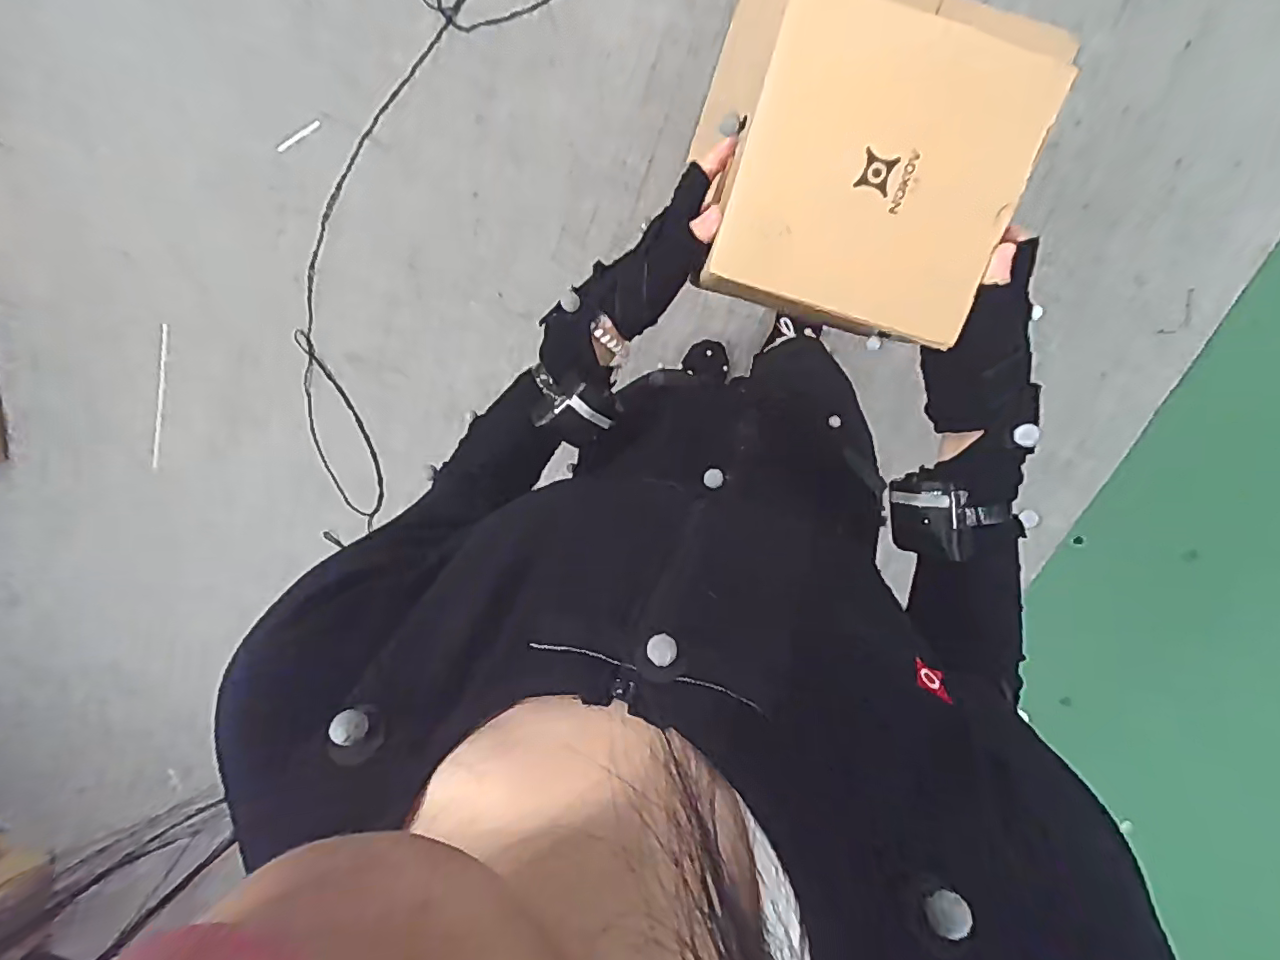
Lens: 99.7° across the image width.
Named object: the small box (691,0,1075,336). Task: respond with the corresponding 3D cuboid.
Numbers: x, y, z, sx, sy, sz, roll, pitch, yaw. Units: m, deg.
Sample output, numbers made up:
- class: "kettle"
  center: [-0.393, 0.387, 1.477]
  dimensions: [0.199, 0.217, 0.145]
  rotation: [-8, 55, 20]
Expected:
- class: "small box"
  center: [0.146, -0.214, 0.403]
  dimensions: [0.179, 0.176, 0.168]
  rotation: [15, 108, -6]
